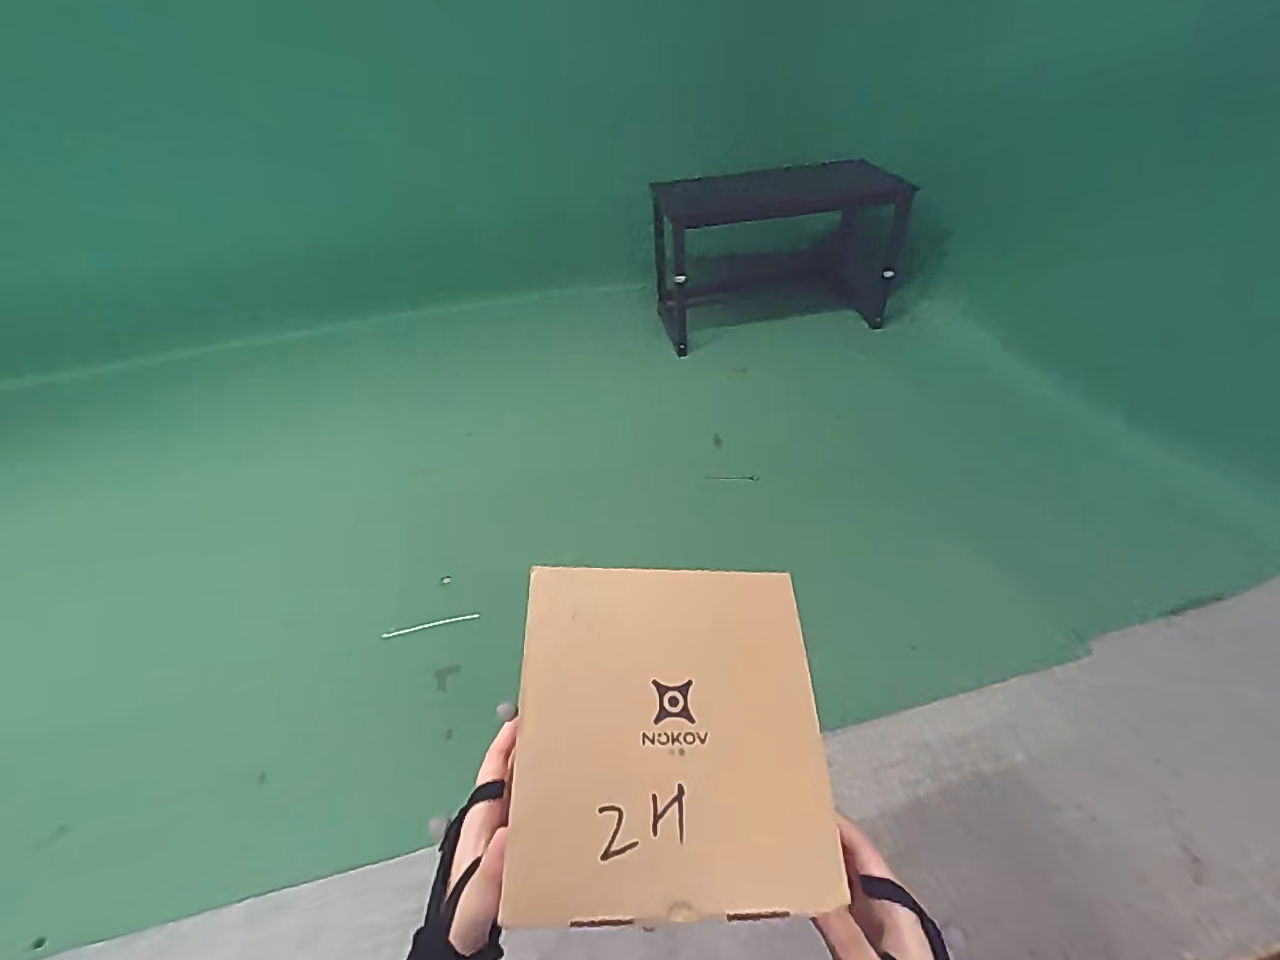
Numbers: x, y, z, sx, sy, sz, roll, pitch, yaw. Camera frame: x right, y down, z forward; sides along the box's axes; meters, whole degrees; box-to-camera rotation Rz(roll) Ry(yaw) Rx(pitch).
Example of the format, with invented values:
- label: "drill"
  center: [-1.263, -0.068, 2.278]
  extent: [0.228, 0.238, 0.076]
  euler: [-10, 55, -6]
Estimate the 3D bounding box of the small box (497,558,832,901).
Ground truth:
- label: "small box"
  center: [0.004, 0.170, 0.369]
  extent: [0.168, 0.176, 0.179]
  euler: [3, 57, -6]
